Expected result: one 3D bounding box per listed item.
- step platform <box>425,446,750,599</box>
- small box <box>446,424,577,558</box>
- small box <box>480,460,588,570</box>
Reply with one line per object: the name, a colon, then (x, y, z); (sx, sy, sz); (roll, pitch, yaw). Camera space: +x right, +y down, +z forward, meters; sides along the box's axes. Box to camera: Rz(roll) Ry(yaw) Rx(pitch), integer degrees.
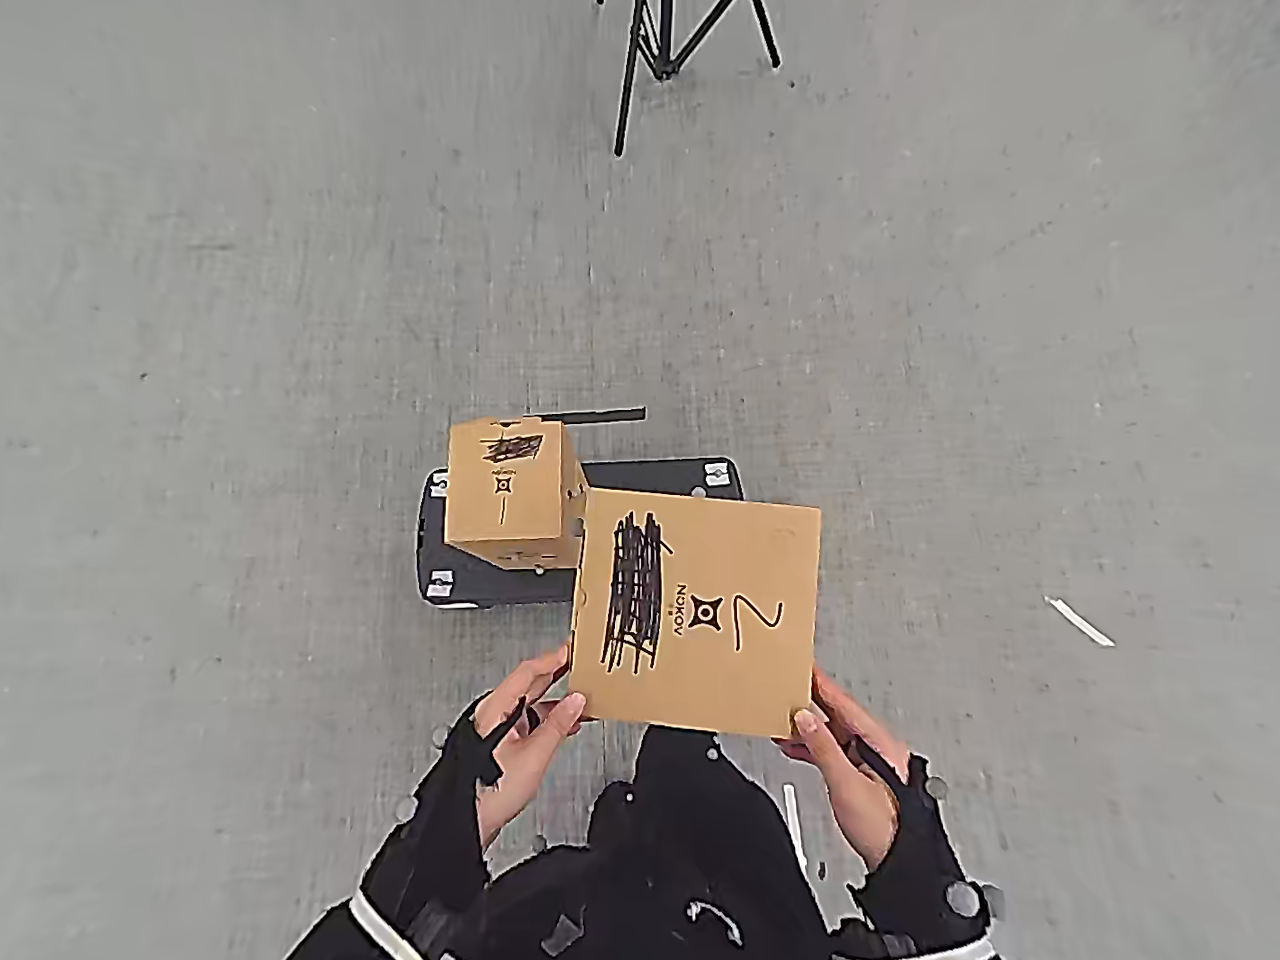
step platform: (-0.106, 0.096, 1.183); (0.684, 0.204, 0.286); (-3, 74, 0)
small box: (-0.192, 0.023, 0.853); (0.168, 0.176, 0.179); (-2, 75, 0)
small box: (-0.189, 0.070, 1.010); (0.168, 0.176, 0.179); (-1, 75, 1)
